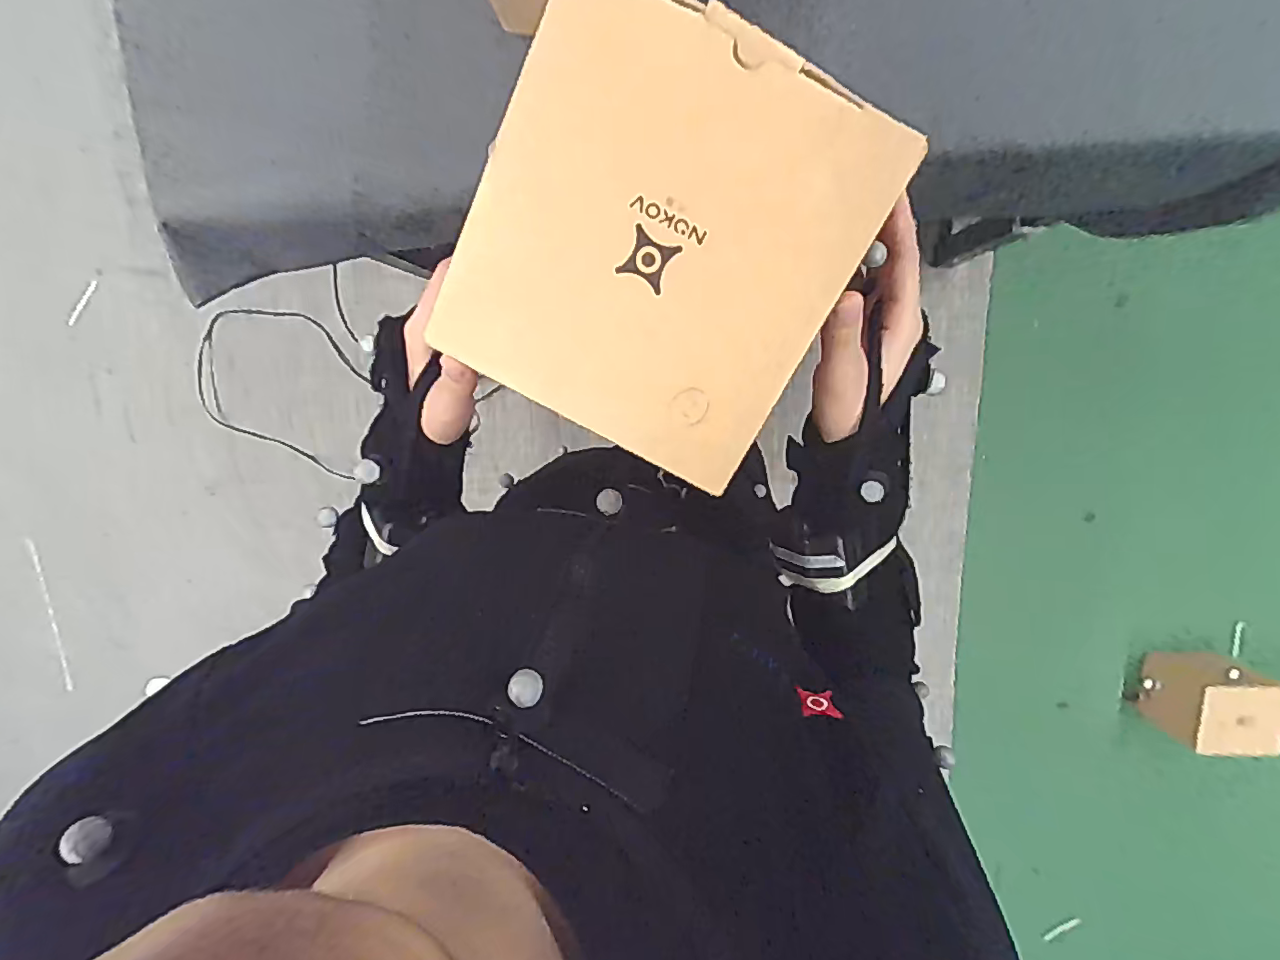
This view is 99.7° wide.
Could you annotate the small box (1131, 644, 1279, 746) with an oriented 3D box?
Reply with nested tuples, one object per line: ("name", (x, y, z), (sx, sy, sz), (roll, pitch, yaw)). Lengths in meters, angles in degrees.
("small box", (1.333, 0.503, 1.283), (0.179, 0.176, 0.168), (-2, 100, 5))

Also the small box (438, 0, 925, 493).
("small box", (0.018, -0.123, 0.320), (0.168, 0.176, 0.179), (28, 106, -2))
